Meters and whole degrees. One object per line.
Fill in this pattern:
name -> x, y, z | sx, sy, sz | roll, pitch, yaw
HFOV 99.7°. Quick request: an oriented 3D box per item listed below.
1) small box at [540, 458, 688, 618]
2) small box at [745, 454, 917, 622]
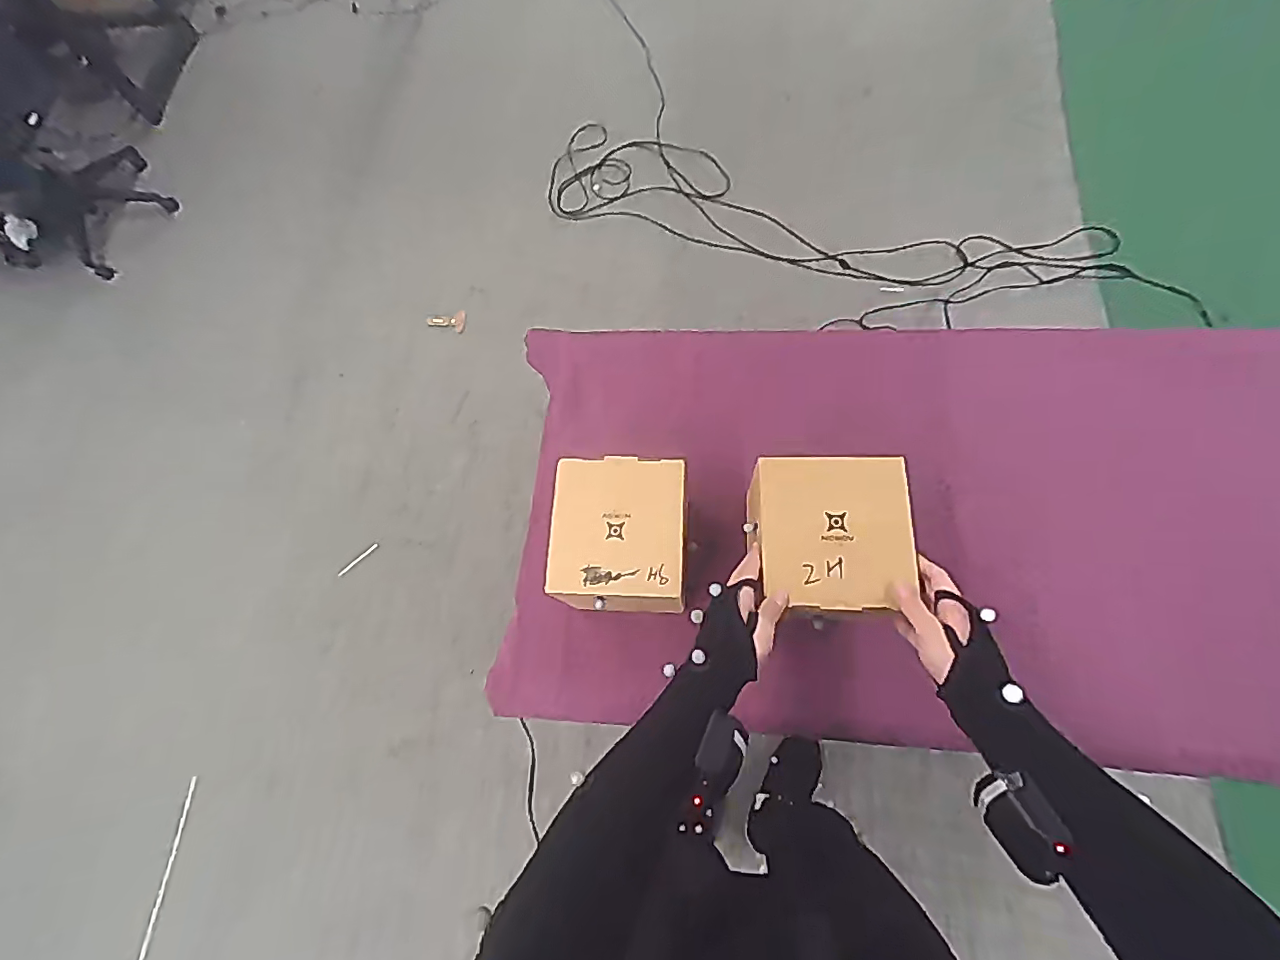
small box -> -0.023, 0.083, 0.732 | 0.168, 0.176, 0.179 | 1, 70, 8
small box -> 0.222, 0.079, 0.678 | 0.168, 0.176, 0.179 | 1, 72, 6
